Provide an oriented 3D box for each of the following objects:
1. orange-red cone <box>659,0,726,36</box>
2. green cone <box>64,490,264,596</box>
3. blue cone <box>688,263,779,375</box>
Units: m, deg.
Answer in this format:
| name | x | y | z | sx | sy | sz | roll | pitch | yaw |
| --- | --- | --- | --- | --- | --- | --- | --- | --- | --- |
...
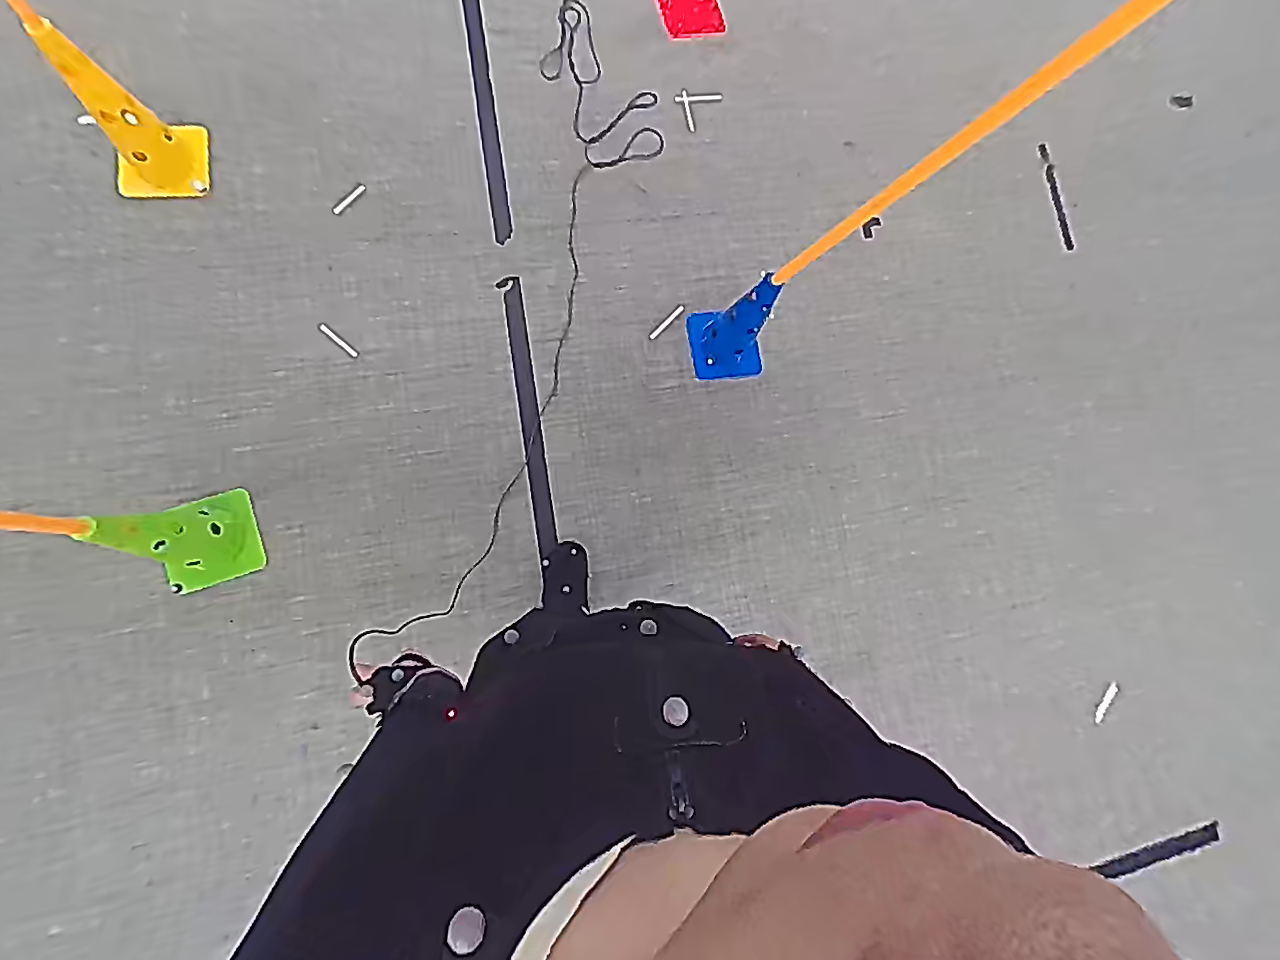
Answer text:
| name | x | y | z | sx | sy | sz | roll | pitch | yaw |
| --- | --- | --- | --- | --- | --- | --- | --- | --- | --- |
| orange-red cone | 0.188 | -1.518 | 1.539 | 0.199 | 0.360 | 0.198 | -14 | 82 | -10 |
| green cone | -0.955 | 0.107 | 1.068 | 0.200 | 0.368 | 0.202 | -19 | 82 | -12 |
| blue cone | 0.265 | -0.421 | 1.376 | 0.193 | 0.380 | 0.192 | -6 | 81 | -11 |
